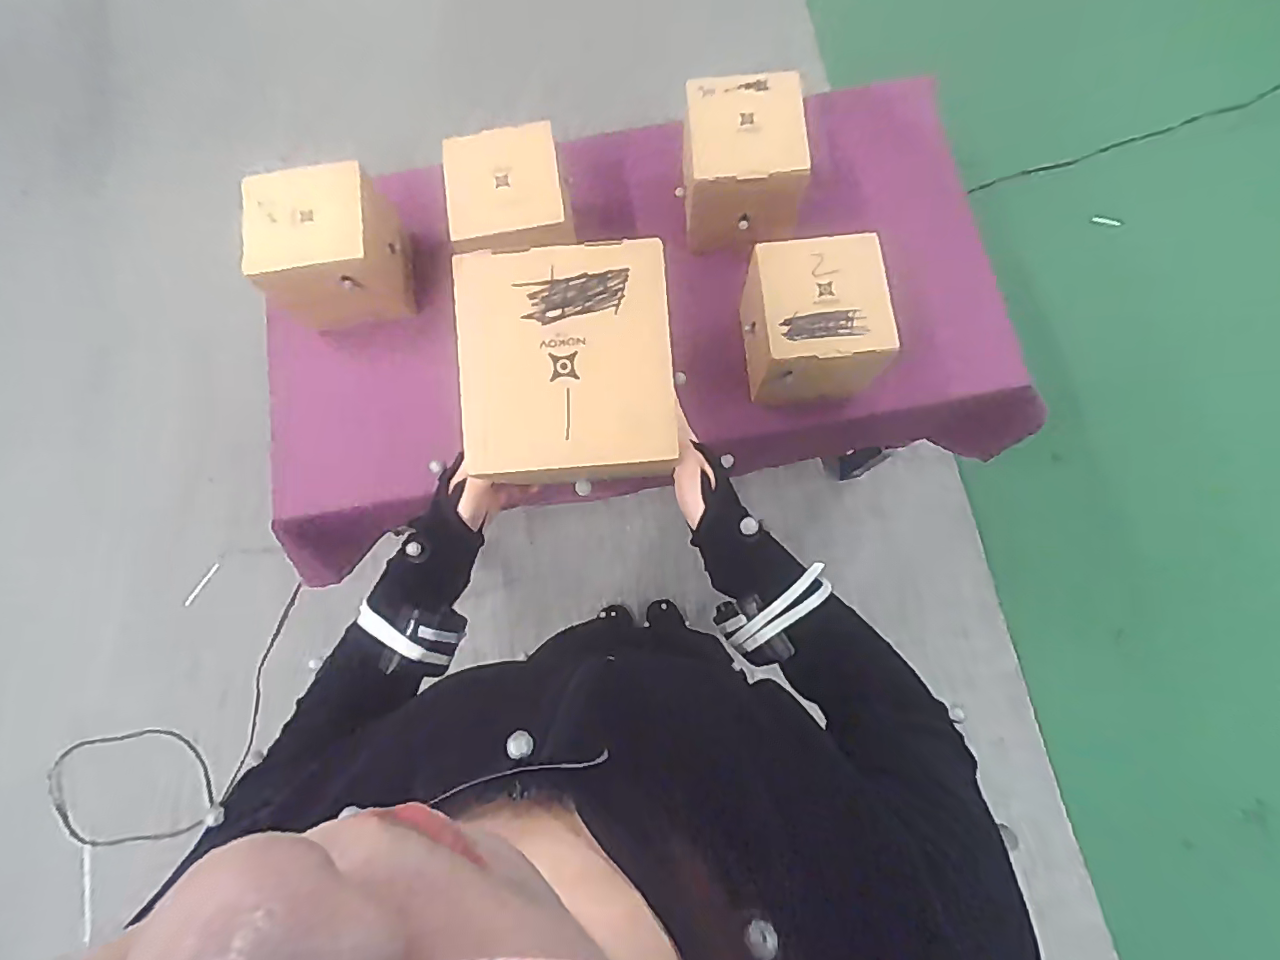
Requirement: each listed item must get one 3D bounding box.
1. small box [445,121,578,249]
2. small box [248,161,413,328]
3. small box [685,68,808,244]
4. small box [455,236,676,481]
[{"bbox_3d":[-0.192,-0.416,0.854,0.168,0.176,0.179,-9,78,2],"label":"small box"},{"bbox_3d":[-0.475,-0.361,0.855,0.179,0.176,0.168,-9,77,1],"label":"small box"},{"bbox_3d":[0.157,-0.493,0.849,0.168,0.176,0.179,-3,79,2],"label":"small box"},{"bbox_3d":[-0.057,-0.095,0.496,0.168,0.176,0.179,-4,88,2],"label":"small box"}]
